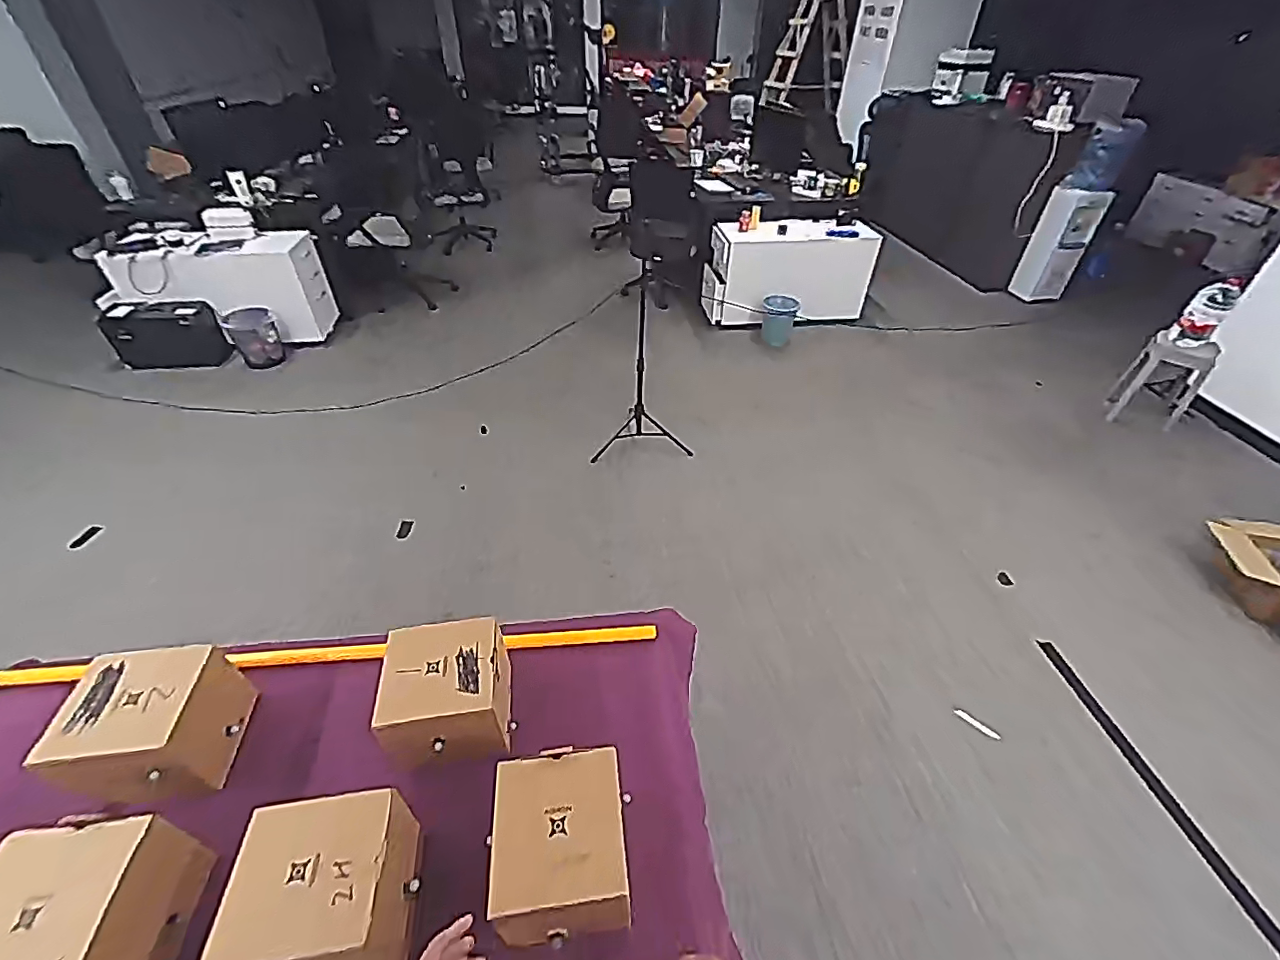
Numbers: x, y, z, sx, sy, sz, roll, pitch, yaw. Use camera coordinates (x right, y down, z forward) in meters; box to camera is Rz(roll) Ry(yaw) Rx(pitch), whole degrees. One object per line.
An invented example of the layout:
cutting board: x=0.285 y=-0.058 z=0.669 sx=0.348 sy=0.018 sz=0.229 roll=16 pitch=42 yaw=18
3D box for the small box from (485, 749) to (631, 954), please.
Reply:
small box: x=-0.103 y=0.497 z=0.729 sx=0.168 sy=0.176 sz=0.179 roll=-6 pitch=39 yaw=-5

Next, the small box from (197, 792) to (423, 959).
small box: x=-0.397 y=0.529 z=0.688 sx=0.179 sy=0.176 sz=0.168 roll=-5 pitch=40 yaw=-7

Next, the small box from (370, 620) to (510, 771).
small box: x=-0.314 y=0.356 z=0.893 sx=0.179 sy=0.176 sz=0.168 roll=-6 pitch=42 yaw=-7

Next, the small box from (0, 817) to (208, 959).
small box: x=-0.683 y=0.548 z=0.662 sx=0.168 sy=0.176 sz=0.179 roll=-4 pitch=40 yaw=-5
